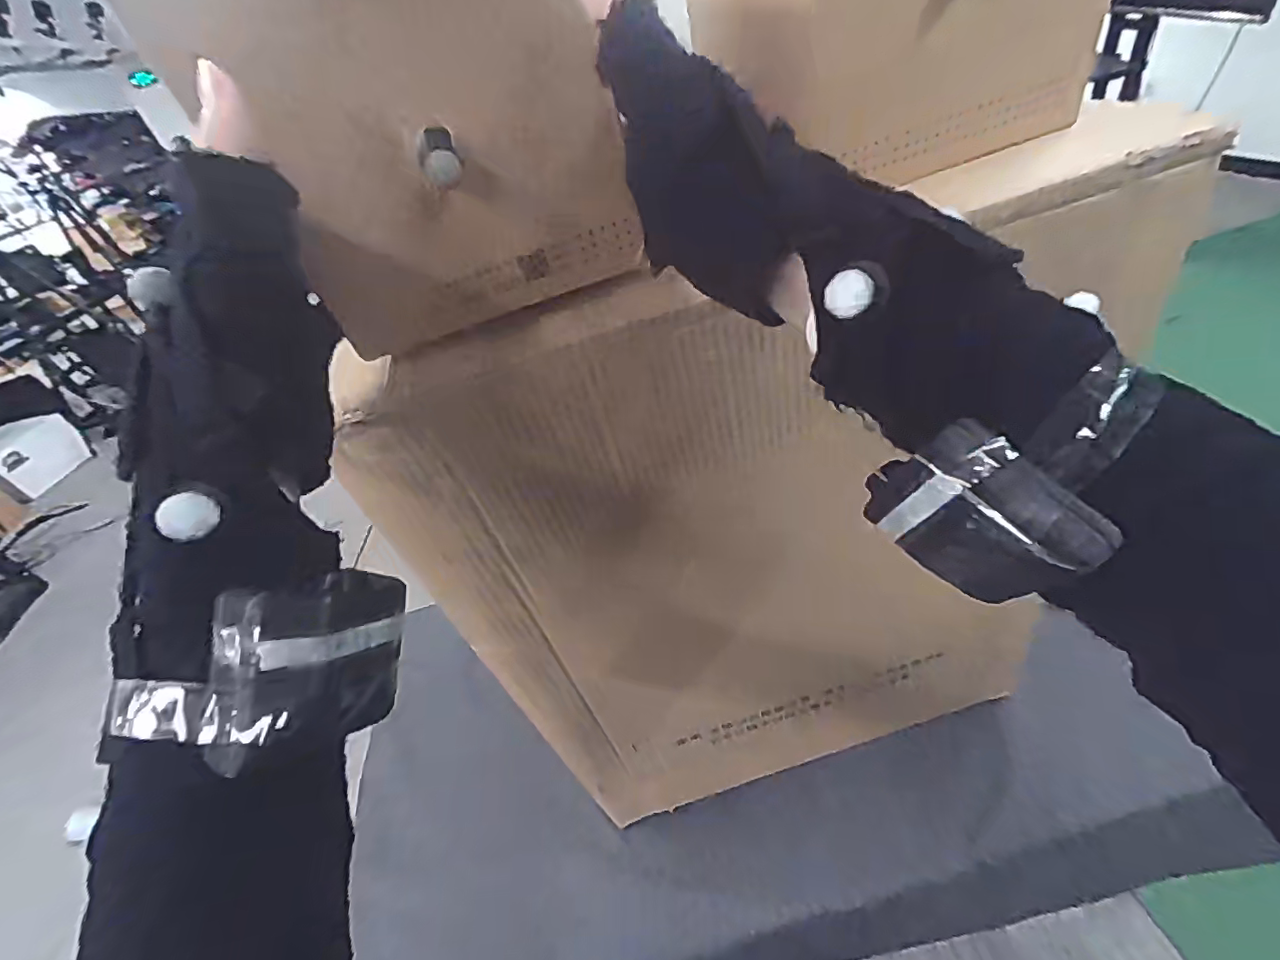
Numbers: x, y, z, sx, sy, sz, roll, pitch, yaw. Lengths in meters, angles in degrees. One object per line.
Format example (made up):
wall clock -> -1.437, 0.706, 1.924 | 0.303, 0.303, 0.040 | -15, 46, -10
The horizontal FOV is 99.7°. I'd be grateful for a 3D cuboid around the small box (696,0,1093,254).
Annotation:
small box -> 0.144, -0.271, 0.343 | 0.179, 0.176, 0.168 | -21, 41, -4
